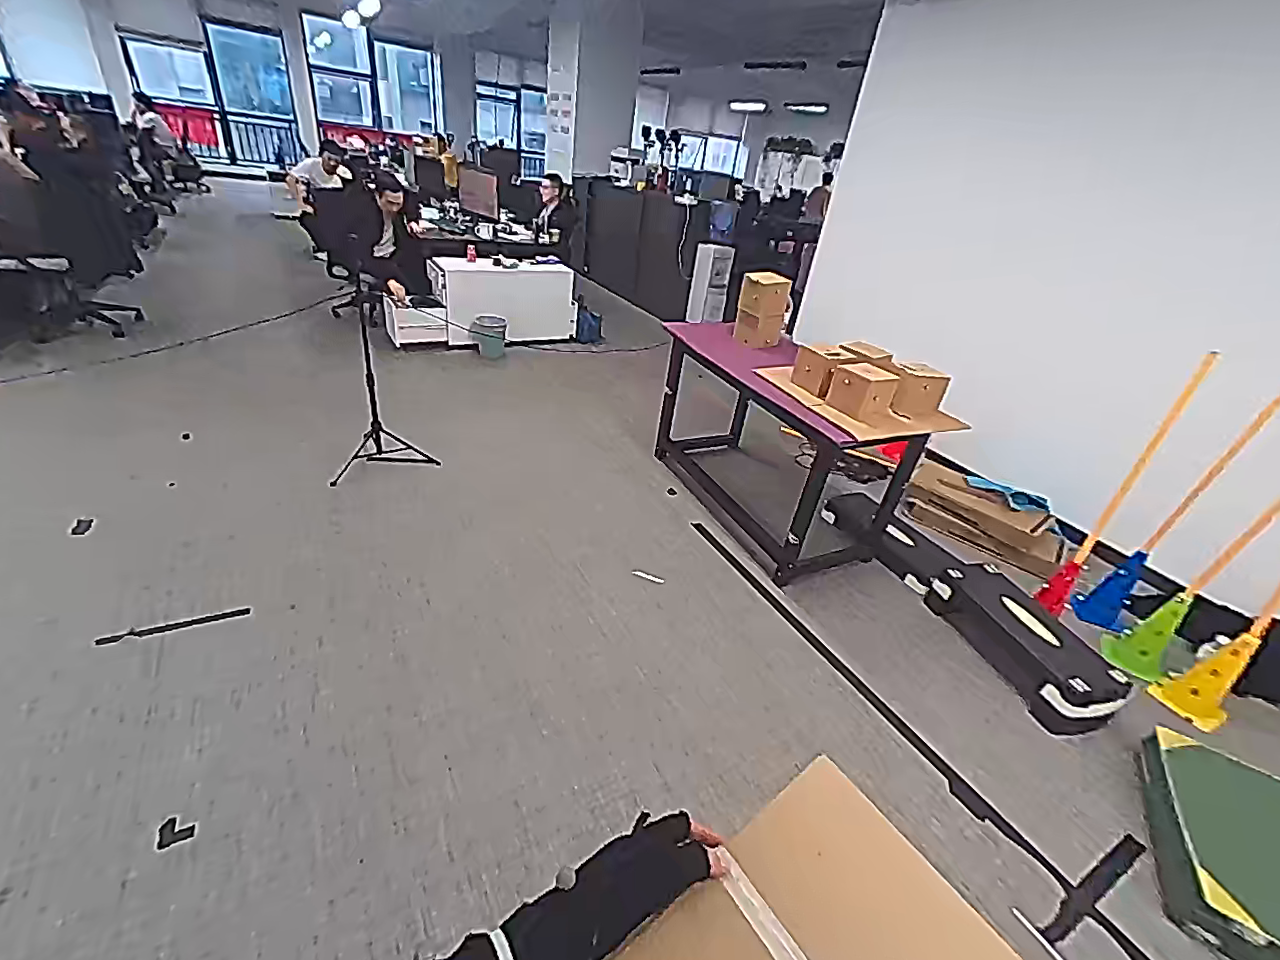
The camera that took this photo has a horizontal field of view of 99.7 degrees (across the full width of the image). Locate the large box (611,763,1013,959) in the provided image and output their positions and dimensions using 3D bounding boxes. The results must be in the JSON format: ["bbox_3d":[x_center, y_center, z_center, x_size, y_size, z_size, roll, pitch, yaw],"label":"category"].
[{"bbox_3d":[0.174,0.563,0.469,0.320,0.320,0.408,-22,47,-31],"label":"large box"}]
